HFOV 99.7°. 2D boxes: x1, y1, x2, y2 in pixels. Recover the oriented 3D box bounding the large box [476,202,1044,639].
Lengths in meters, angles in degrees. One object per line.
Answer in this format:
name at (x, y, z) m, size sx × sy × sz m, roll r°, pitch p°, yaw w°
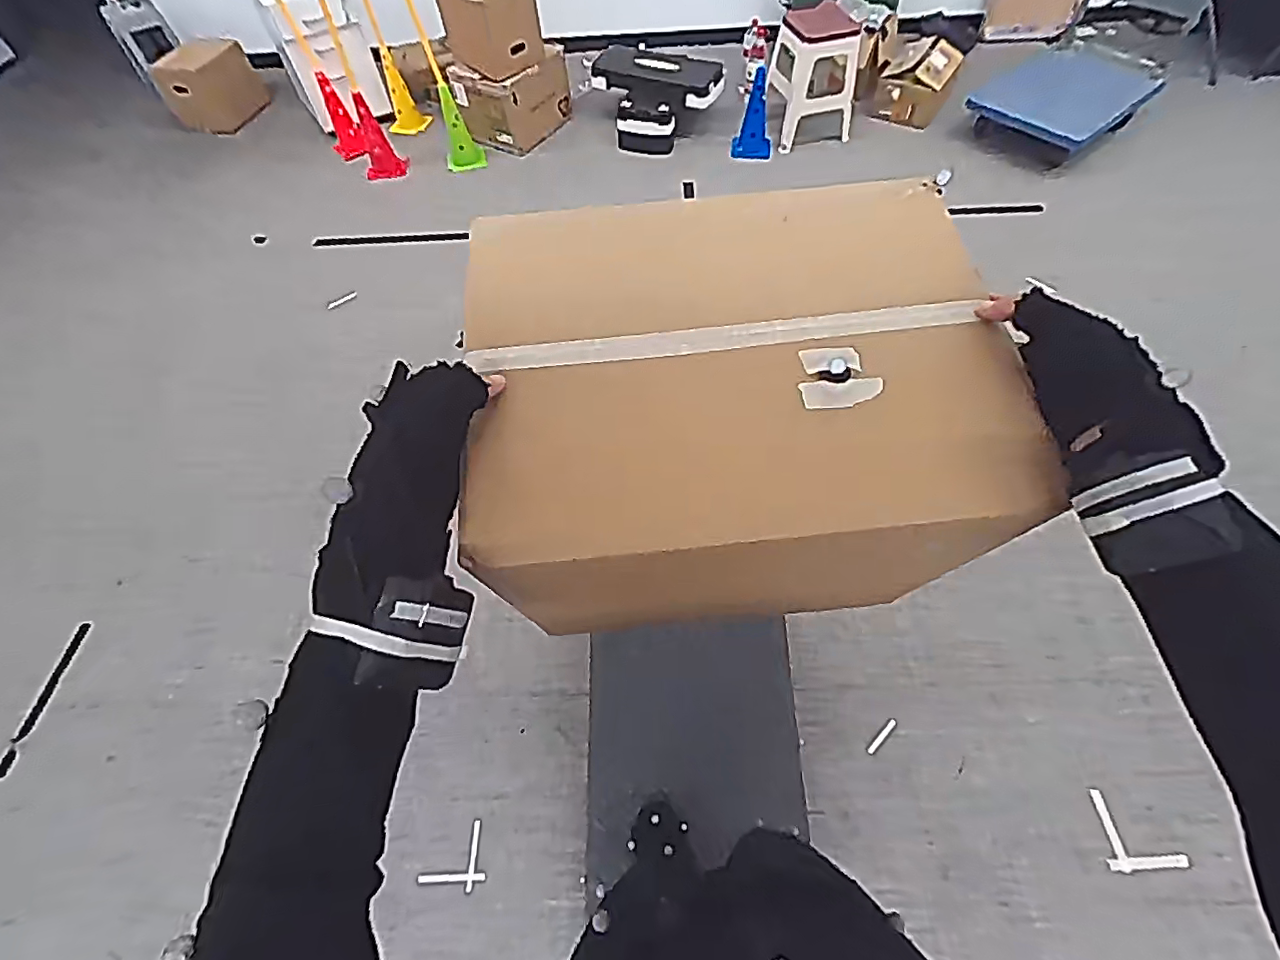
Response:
large box at (0.071, -0.035, 0.565) m, size 0.408 × 0.320 × 0.320 m, roll -6°, pitch 66°, yaw -1°
